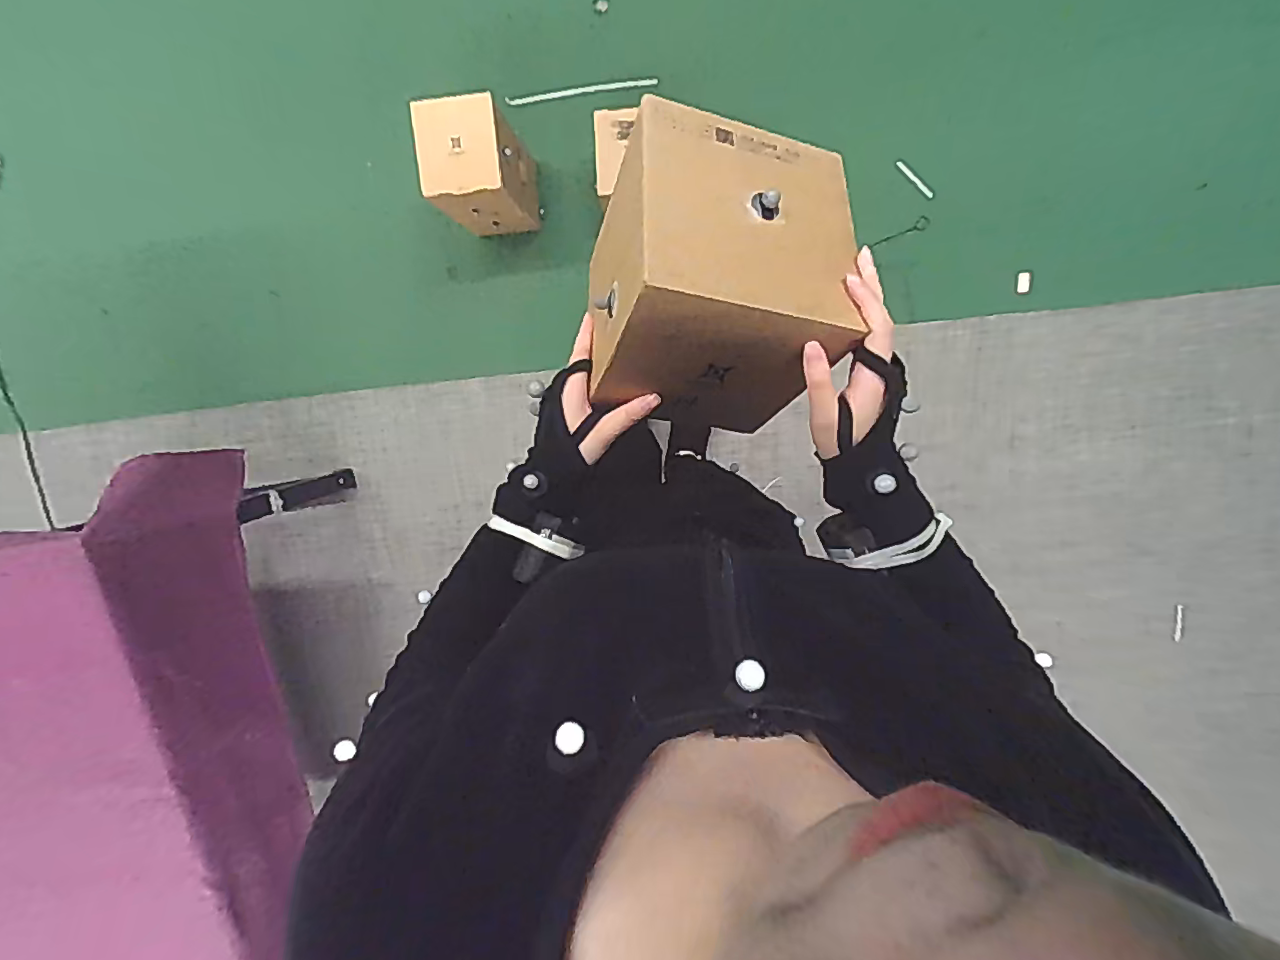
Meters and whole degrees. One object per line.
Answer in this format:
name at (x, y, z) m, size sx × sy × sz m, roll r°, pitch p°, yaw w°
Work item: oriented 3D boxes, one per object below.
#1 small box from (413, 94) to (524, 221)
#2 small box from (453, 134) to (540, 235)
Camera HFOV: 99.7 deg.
small box at (-0.354, -0.672, 1.145) m, size 0.168 × 0.176 × 0.179 m, roll -4°, pitch 100°, yaw 5°
small box at (-0.346, -0.704, 1.305) m, size 0.179 × 0.176 × 0.168 m, roll -4°, pitch 100°, yaw 6°
